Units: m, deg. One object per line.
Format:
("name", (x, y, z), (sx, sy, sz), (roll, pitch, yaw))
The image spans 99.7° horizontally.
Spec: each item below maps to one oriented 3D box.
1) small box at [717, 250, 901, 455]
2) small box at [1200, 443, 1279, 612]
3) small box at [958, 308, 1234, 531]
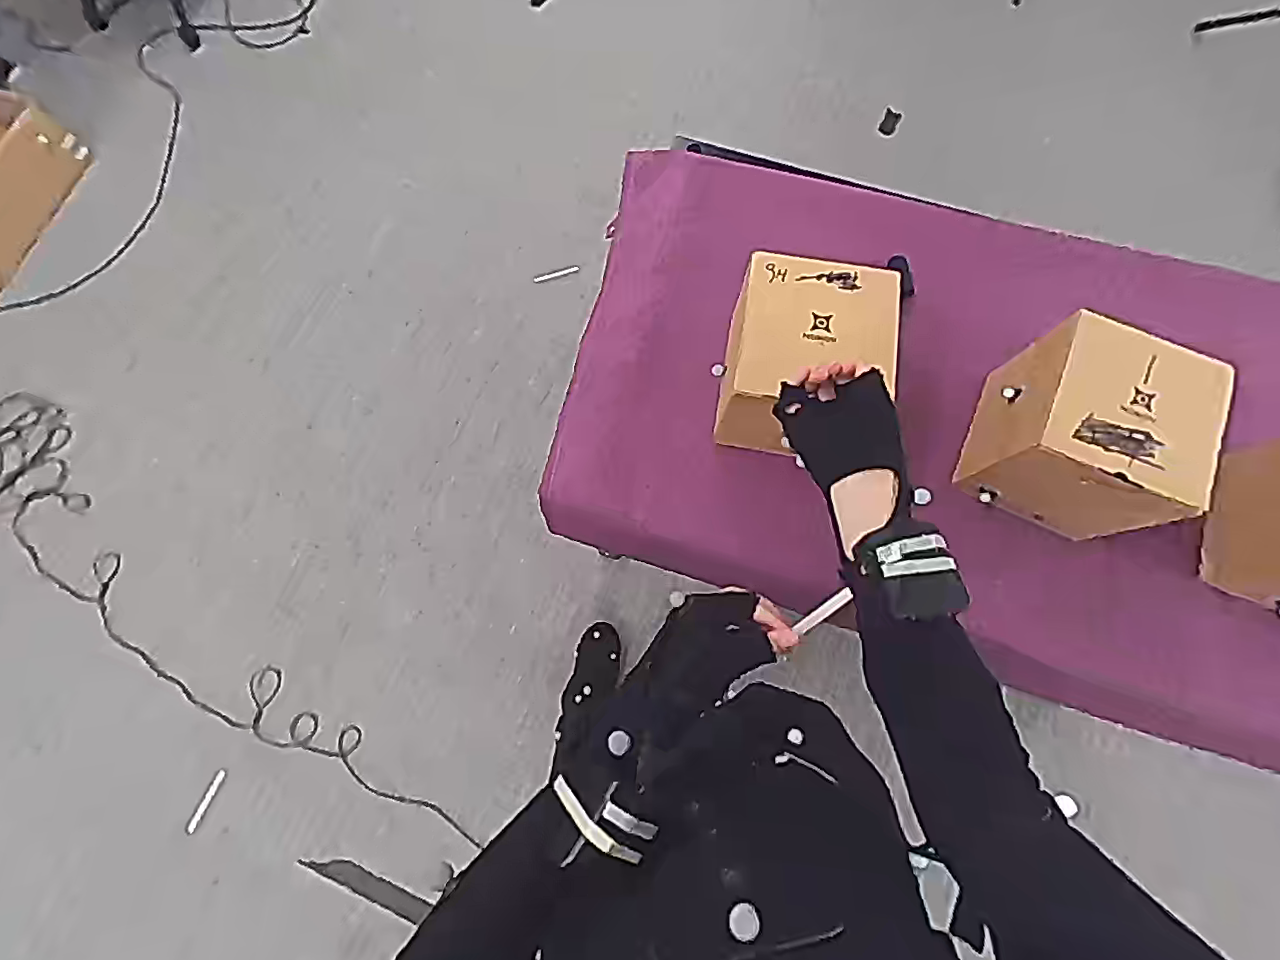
("small box", (0.193, -0.142, 0.658), (0.168, 0.176, 0.179), (10, 76, 3))
("small box", (0.790, 0.055, 0.600), (0.168, 0.176, 0.179), (20, 76, 8))
("small box", (0.511, -0.057, 0.632), (0.168, 0.176, 0.179), (25, 75, 7))
